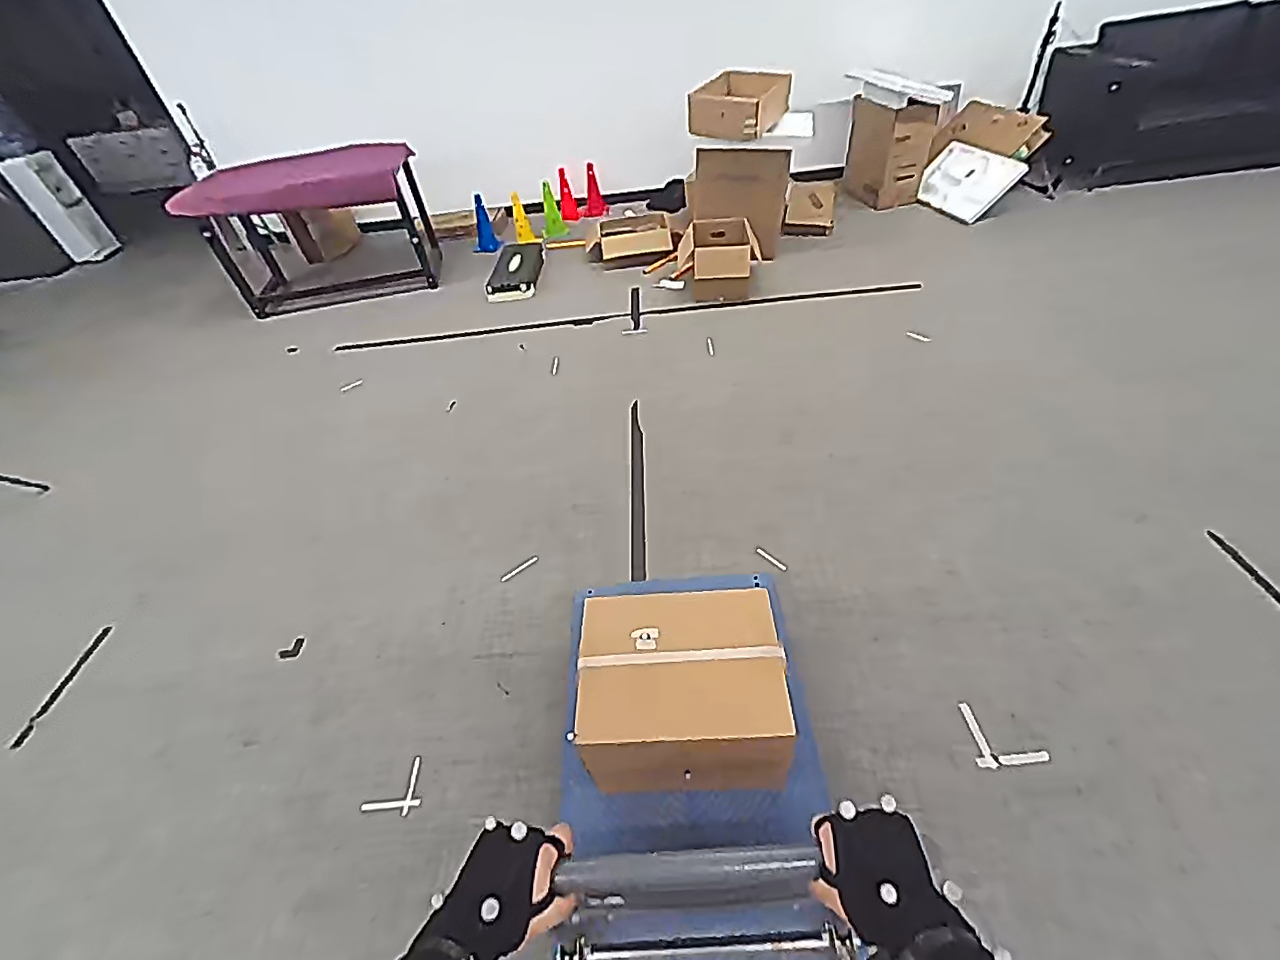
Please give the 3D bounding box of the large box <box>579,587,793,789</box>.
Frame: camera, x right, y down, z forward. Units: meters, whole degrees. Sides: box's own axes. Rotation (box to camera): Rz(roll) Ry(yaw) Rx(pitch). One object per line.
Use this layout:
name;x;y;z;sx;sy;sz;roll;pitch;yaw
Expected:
large box;0.098;0.467;1.200;0.408;0.320;0.320;-5;44;4
